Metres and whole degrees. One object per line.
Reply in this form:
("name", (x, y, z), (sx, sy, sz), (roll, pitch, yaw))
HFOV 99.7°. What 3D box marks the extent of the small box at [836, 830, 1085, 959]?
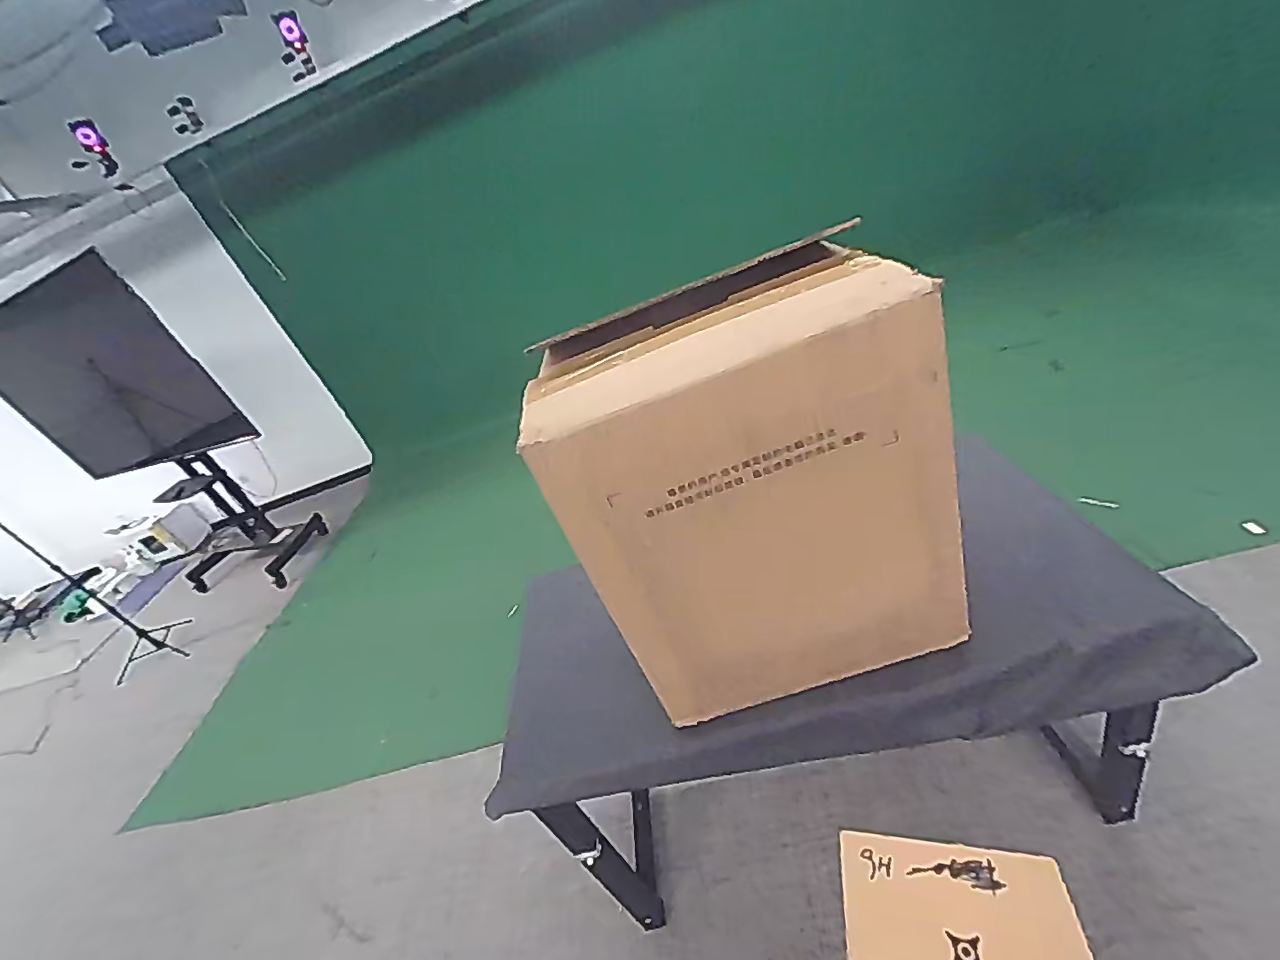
("small box", (0.251, 0.424, 0.429), (0.168, 0.176, 0.179), (-4, 27, 17))
